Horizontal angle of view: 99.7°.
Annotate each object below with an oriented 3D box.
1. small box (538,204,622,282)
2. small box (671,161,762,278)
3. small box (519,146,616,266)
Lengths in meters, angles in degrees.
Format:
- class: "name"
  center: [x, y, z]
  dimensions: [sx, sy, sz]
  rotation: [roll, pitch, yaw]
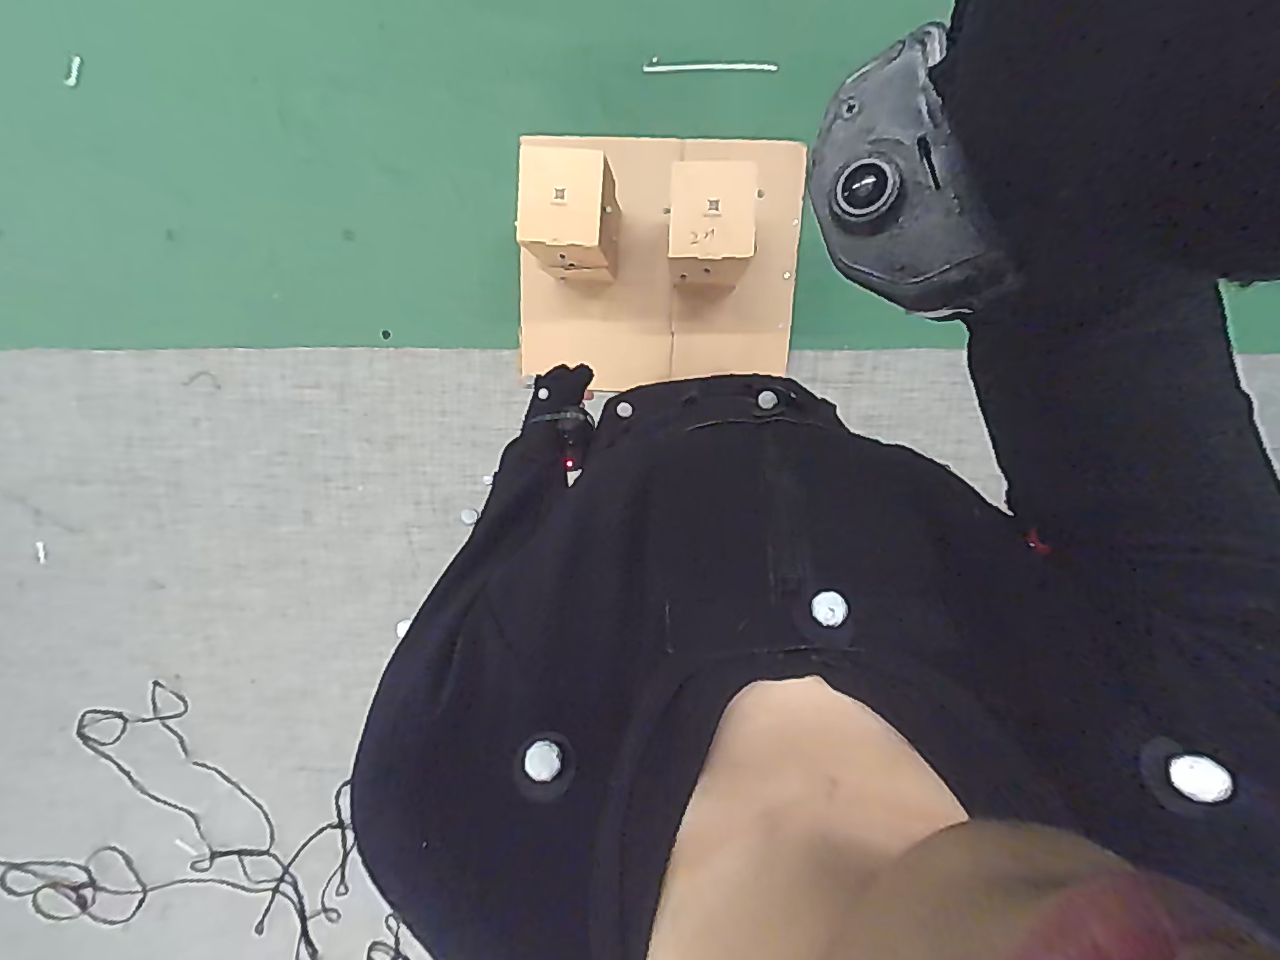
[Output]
- class: "small box"
  center: [-0.136, -0.574, 1.280]
  dimensions: [0.168, 0.176, 0.179]
  rotation: [5, 100, 4]
- class: "small box"
  center: [0.149, -0.521, 1.101]
  dimensions: [0.168, 0.176, 0.179]
  rotation: [3, 100, 5]
- class: "small box"
  center: [-0.143, -0.557, 1.118]
  dimensions: [0.168, 0.176, 0.179]
  rotation: [6, 101, 3]
